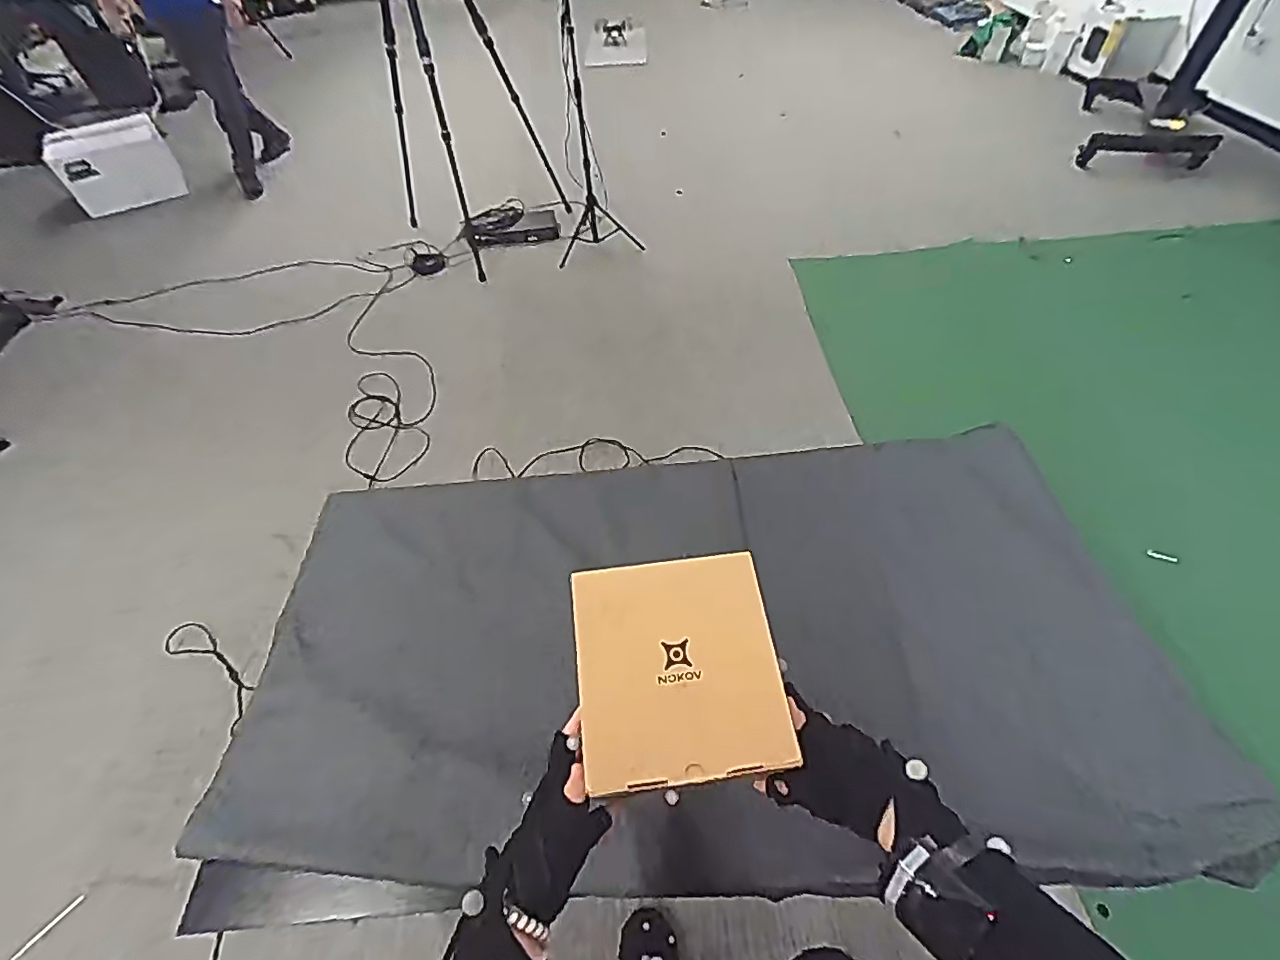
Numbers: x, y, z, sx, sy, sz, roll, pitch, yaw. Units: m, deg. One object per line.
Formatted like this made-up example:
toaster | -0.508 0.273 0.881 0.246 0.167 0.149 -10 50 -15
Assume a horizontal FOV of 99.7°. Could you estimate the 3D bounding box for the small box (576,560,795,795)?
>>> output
small box | 0.028 0.195 0.522 0.168 0.176 0.179 -6 60 -4
